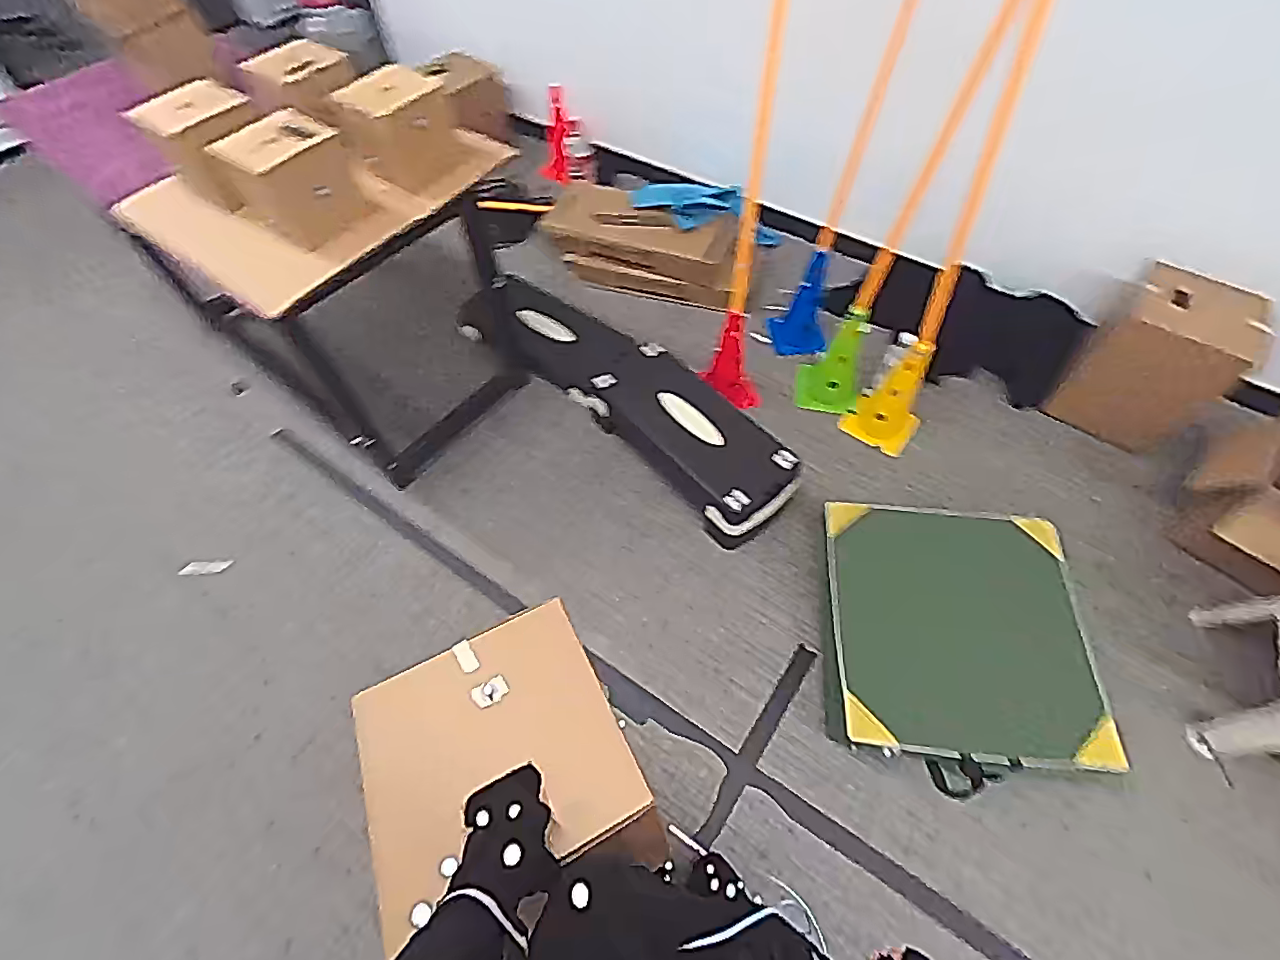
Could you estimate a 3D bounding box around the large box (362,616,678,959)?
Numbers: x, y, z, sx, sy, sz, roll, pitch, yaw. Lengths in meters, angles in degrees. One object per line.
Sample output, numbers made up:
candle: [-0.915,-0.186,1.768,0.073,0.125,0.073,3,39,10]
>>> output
large box: [-0.160,0.479,0.827,0.320,0.408,0.320,-24,50,-13]
